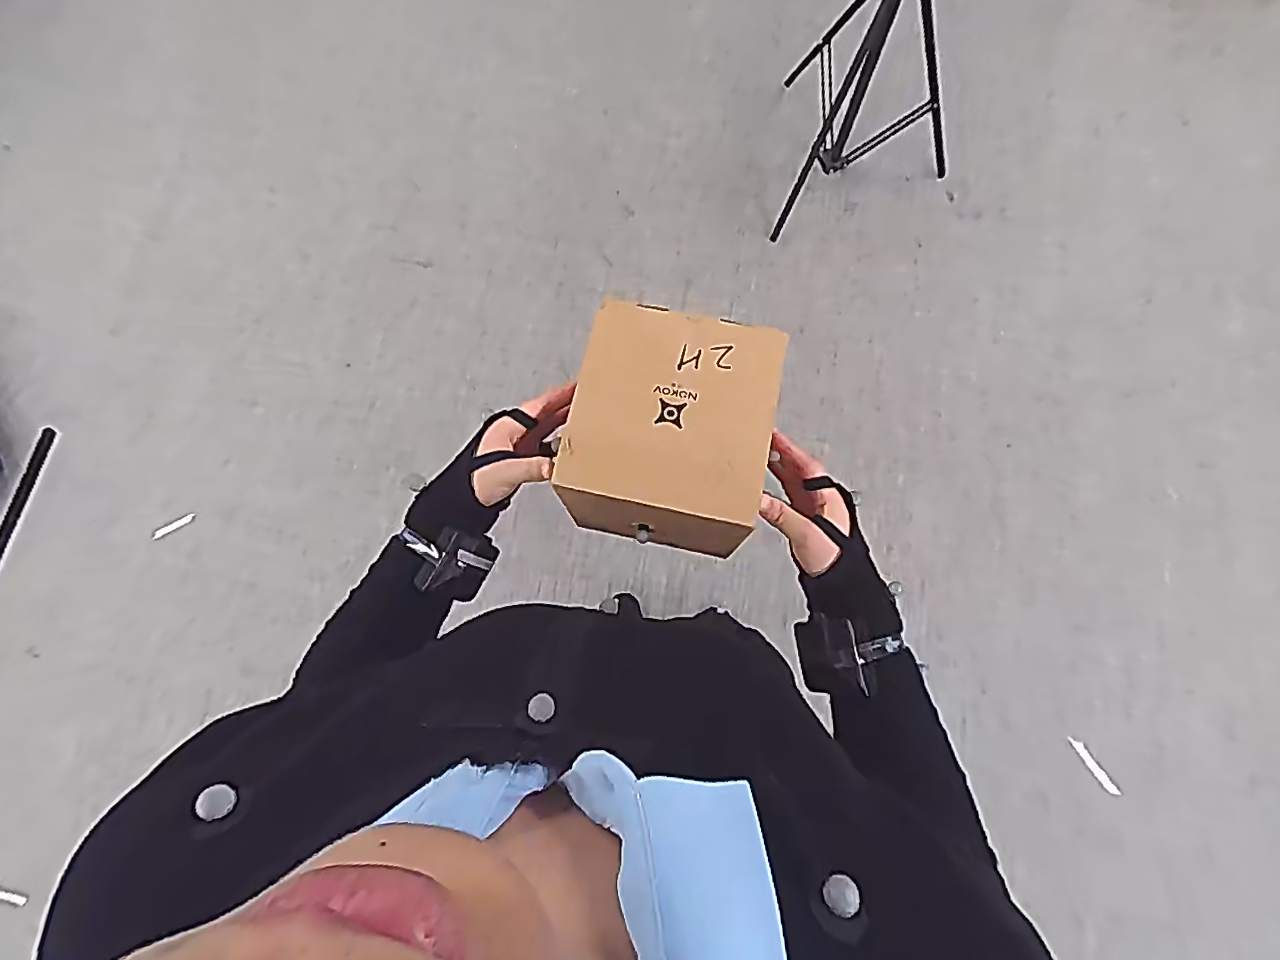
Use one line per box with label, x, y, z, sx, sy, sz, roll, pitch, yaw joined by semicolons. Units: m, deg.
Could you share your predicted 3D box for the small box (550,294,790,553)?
small box;0.029;-0.039;0.510;0.168;0.176;0.179;12;73;4
